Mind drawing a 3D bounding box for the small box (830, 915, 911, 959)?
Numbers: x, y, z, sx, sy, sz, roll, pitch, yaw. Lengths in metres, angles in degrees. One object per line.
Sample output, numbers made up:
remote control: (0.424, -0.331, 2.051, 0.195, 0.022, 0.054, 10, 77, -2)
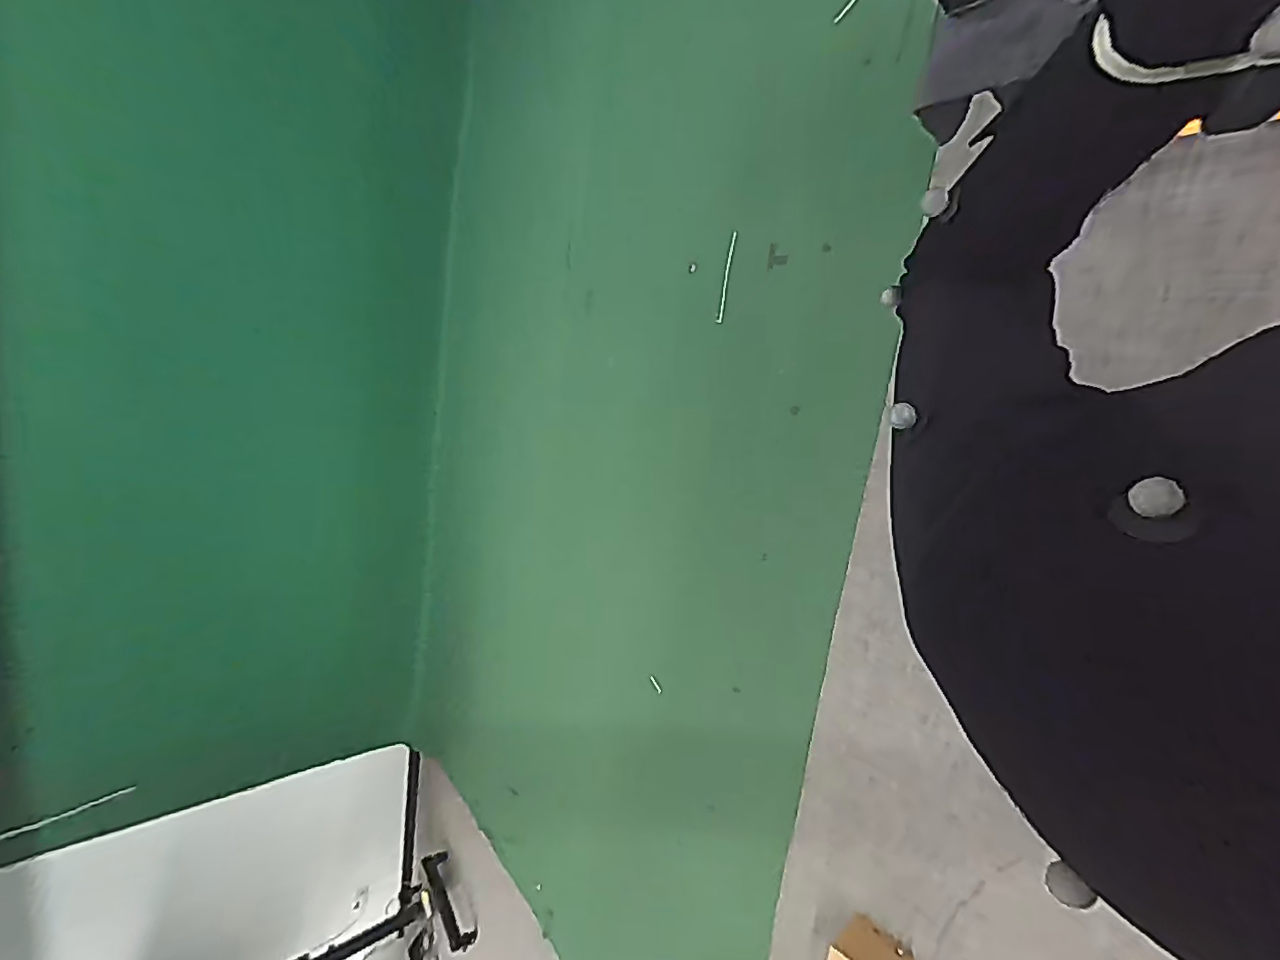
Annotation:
small box: (0.630, 1.360, 1.482, 0.168, 0.176, 0.179, 16, 103, 47)
